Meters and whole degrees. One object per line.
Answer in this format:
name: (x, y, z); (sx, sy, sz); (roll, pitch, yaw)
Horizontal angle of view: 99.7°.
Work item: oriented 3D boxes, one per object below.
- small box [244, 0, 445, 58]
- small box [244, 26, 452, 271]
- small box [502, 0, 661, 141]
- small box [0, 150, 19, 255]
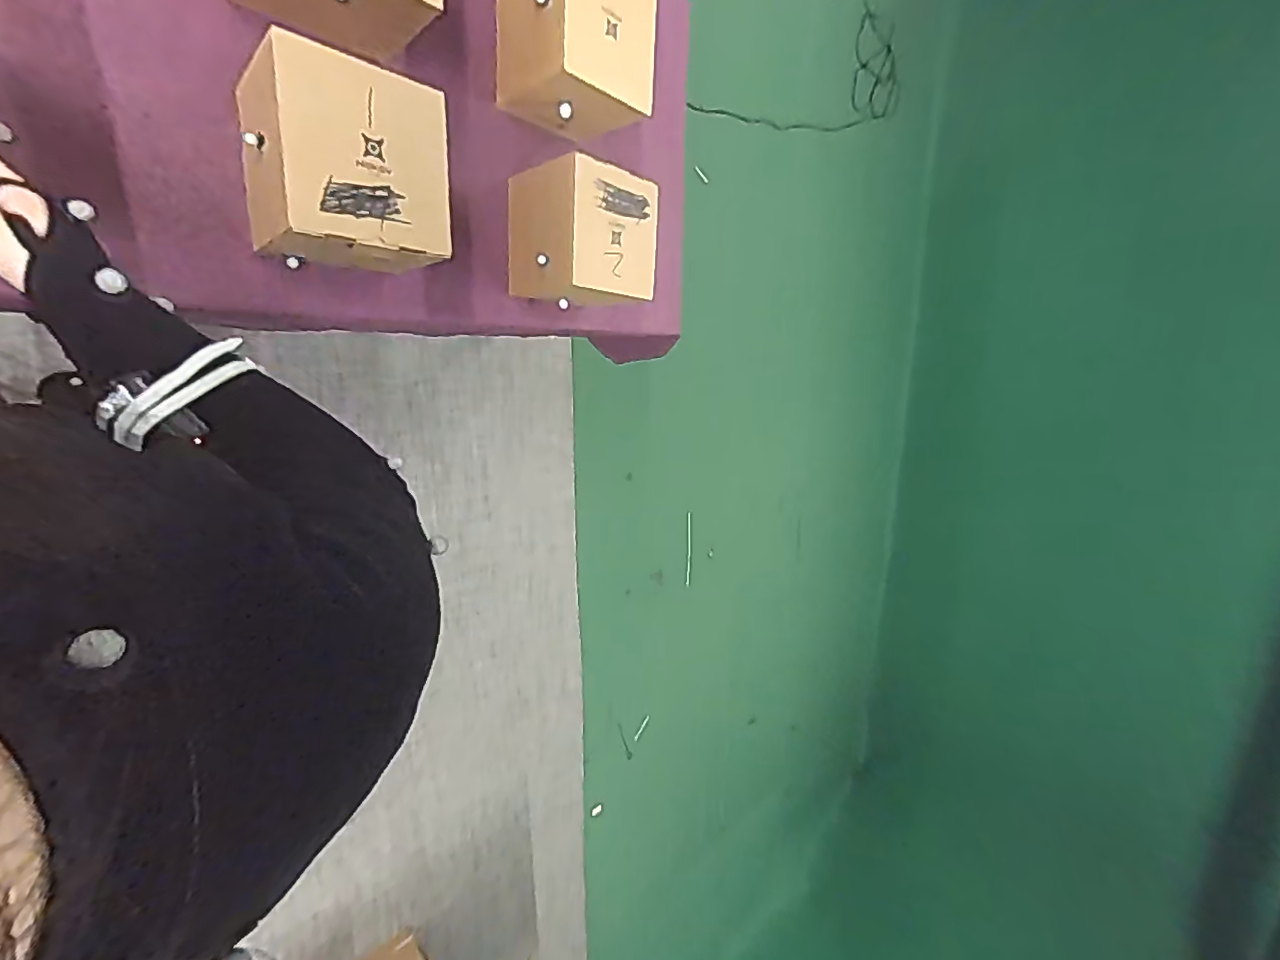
small box: (-0.324, -0.590, 0.565); (0.179, 0.176, 0.168); (-8, 105, -44)
small box: (-0.329, -0.345, 0.613); (0.168, 0.176, 0.179); (-9, 104, -44)
small box: (-0.089, -0.631, 0.790); (0.168, 0.176, 0.179); (-7, 104, -44)
small box: (-0.577, -0.272, 0.372); (0.168, 0.176, 0.179); (-13, 103, -43)
